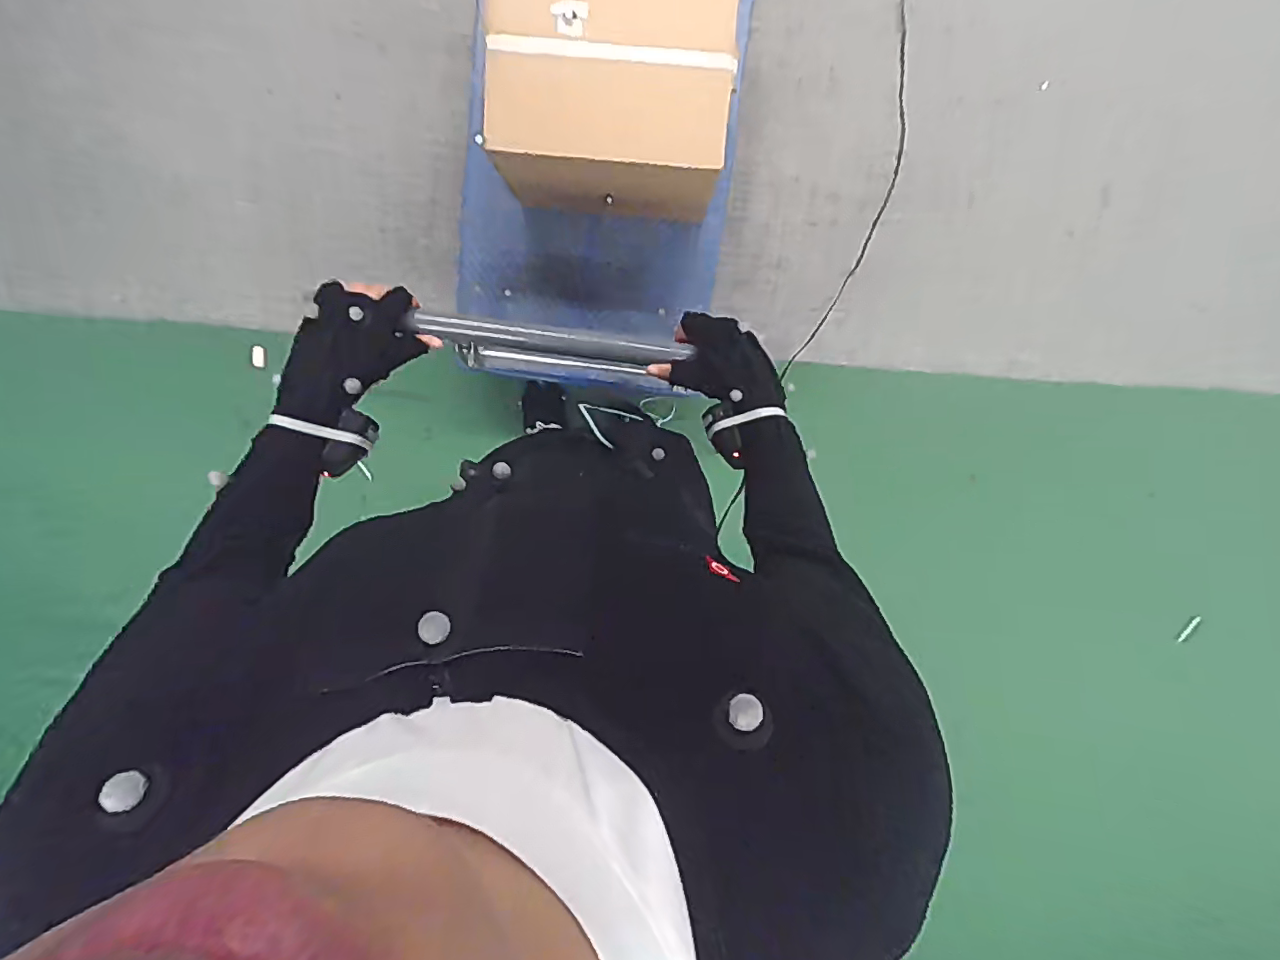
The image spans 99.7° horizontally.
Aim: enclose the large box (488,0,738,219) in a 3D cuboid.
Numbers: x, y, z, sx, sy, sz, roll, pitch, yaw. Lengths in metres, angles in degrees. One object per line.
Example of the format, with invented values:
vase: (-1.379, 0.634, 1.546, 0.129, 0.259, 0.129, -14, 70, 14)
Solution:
large box: (-0.045, -0.711, 1.028, 0.408, 0.320, 0.320, 5, 99, 0)
